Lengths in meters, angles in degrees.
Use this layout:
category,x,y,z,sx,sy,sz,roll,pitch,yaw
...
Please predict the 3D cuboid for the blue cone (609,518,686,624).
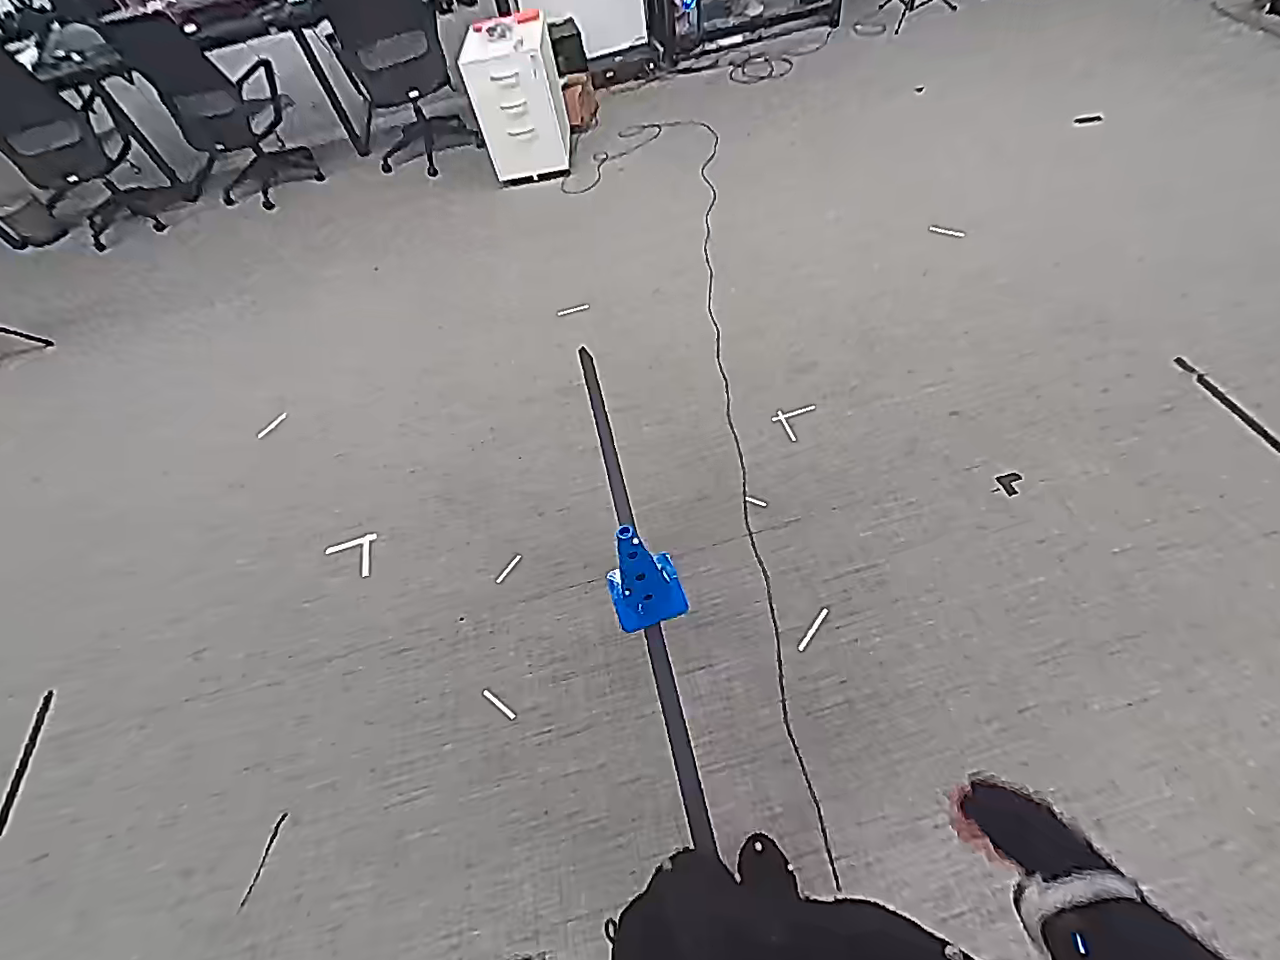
category,x,y,z,sx,sy,sz,roll,pitch,yaw
blue cone,-0.011,0.211,1.406,0.192,0.380,0.193,-20,53,-4
